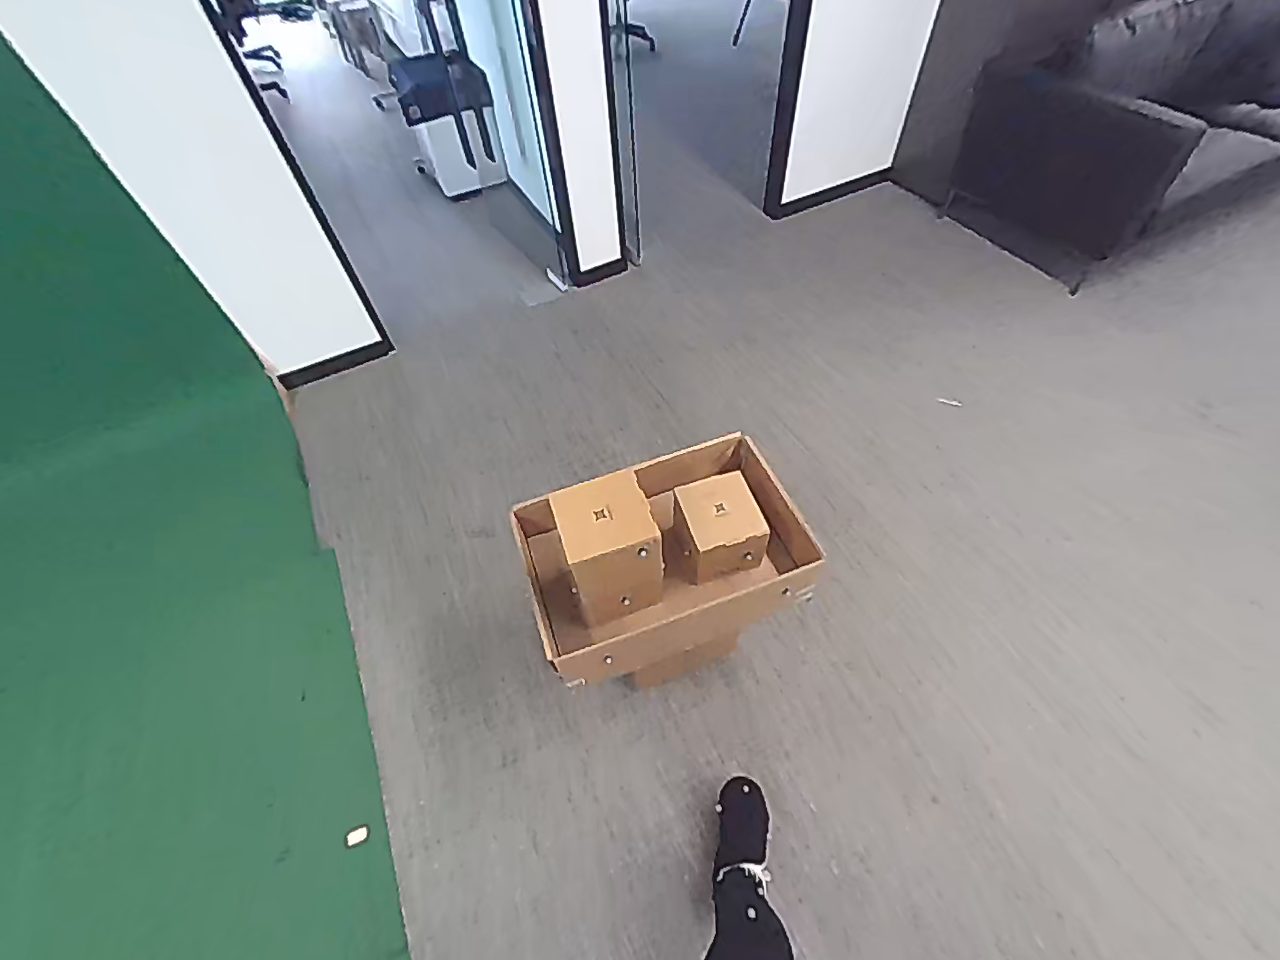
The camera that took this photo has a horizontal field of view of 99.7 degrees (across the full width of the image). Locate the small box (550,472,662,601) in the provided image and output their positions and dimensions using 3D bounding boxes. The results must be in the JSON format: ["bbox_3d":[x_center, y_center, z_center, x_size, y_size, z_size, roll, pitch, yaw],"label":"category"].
[{"bbox_3d":[-0.063,0.117,1.079,0.179,0.176,0.168,-18,54,-9],"label":"small box"}]
